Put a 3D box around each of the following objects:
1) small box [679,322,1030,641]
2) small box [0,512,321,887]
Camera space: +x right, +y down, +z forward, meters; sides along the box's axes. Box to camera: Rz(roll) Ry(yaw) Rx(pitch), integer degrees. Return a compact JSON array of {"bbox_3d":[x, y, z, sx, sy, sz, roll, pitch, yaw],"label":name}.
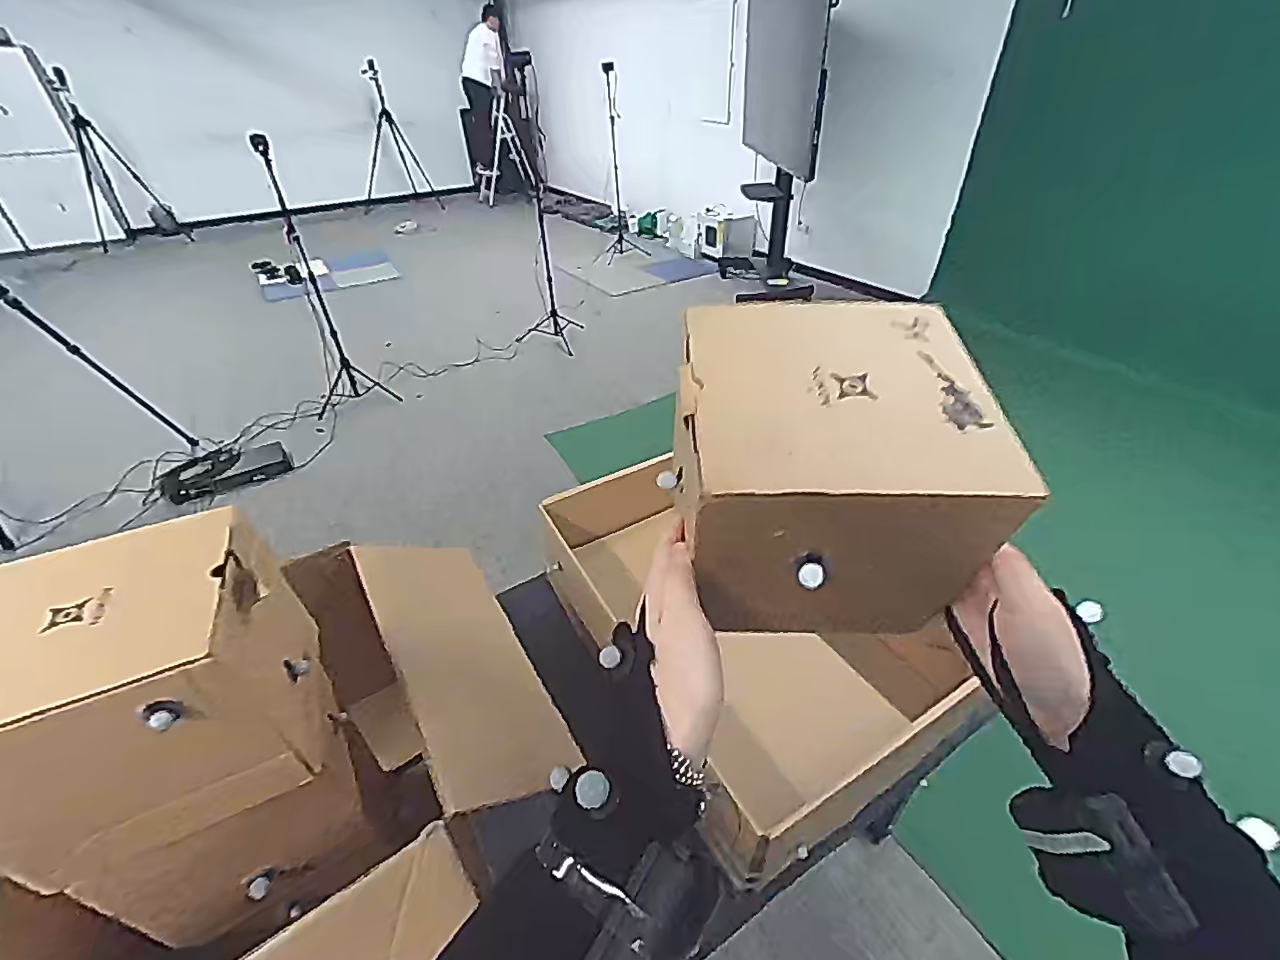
[{"bbox_3d":[0.117,0.007,0.389,0.179,0.176,0.168,-1,51,1],"label":"small box"},{"bbox_3d":[-0.368,0.157,0.408,0.179,0.176,0.168,-18,40,-20],"label":"small box"}]
